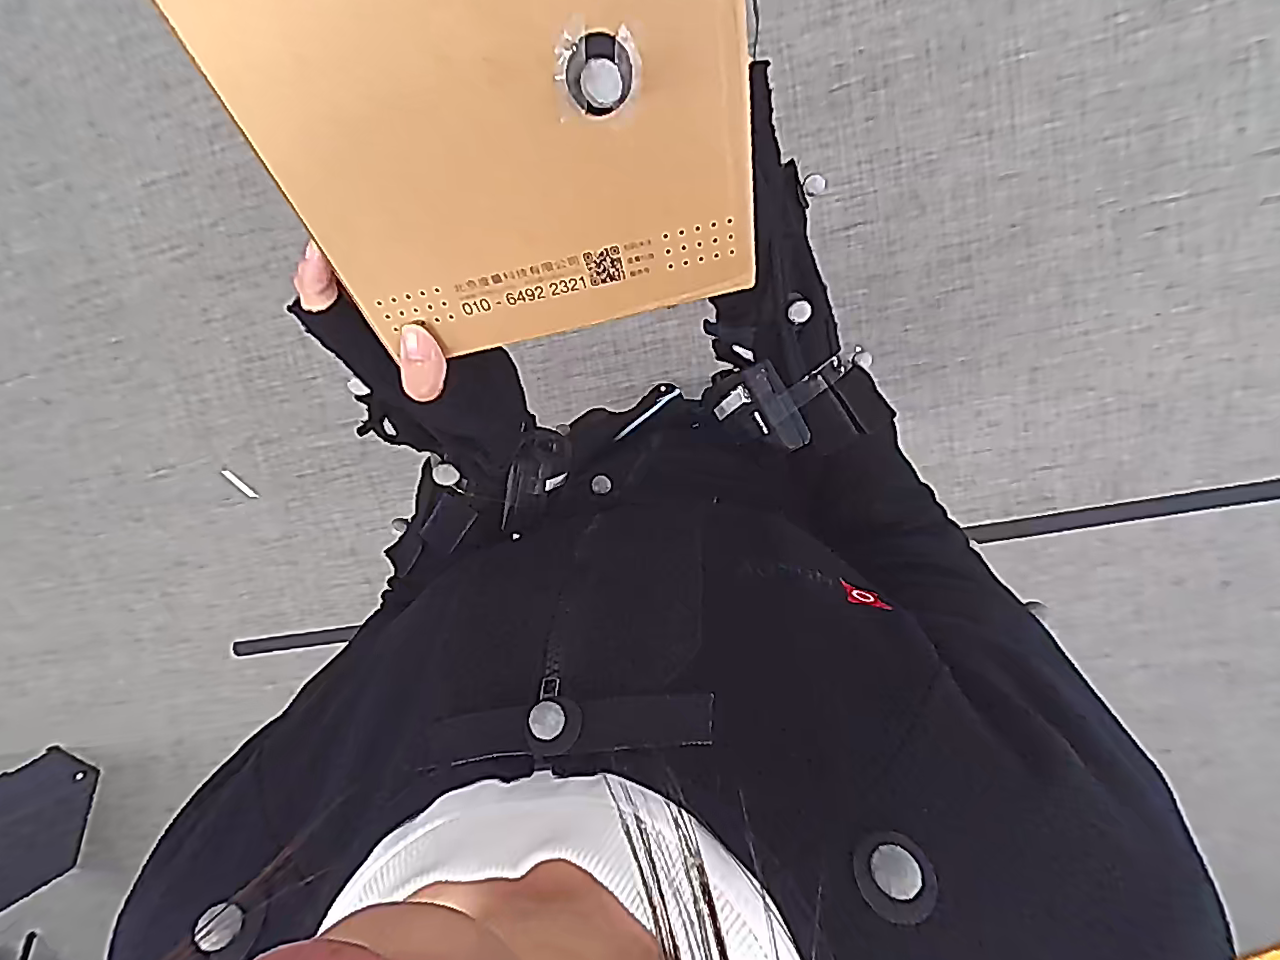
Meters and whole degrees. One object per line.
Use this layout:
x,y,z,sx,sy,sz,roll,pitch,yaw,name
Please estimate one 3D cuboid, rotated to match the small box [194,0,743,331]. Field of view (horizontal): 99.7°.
-0.050,-0.189,0.254,0.168,0.179,0.176,-11,139,5,small box
